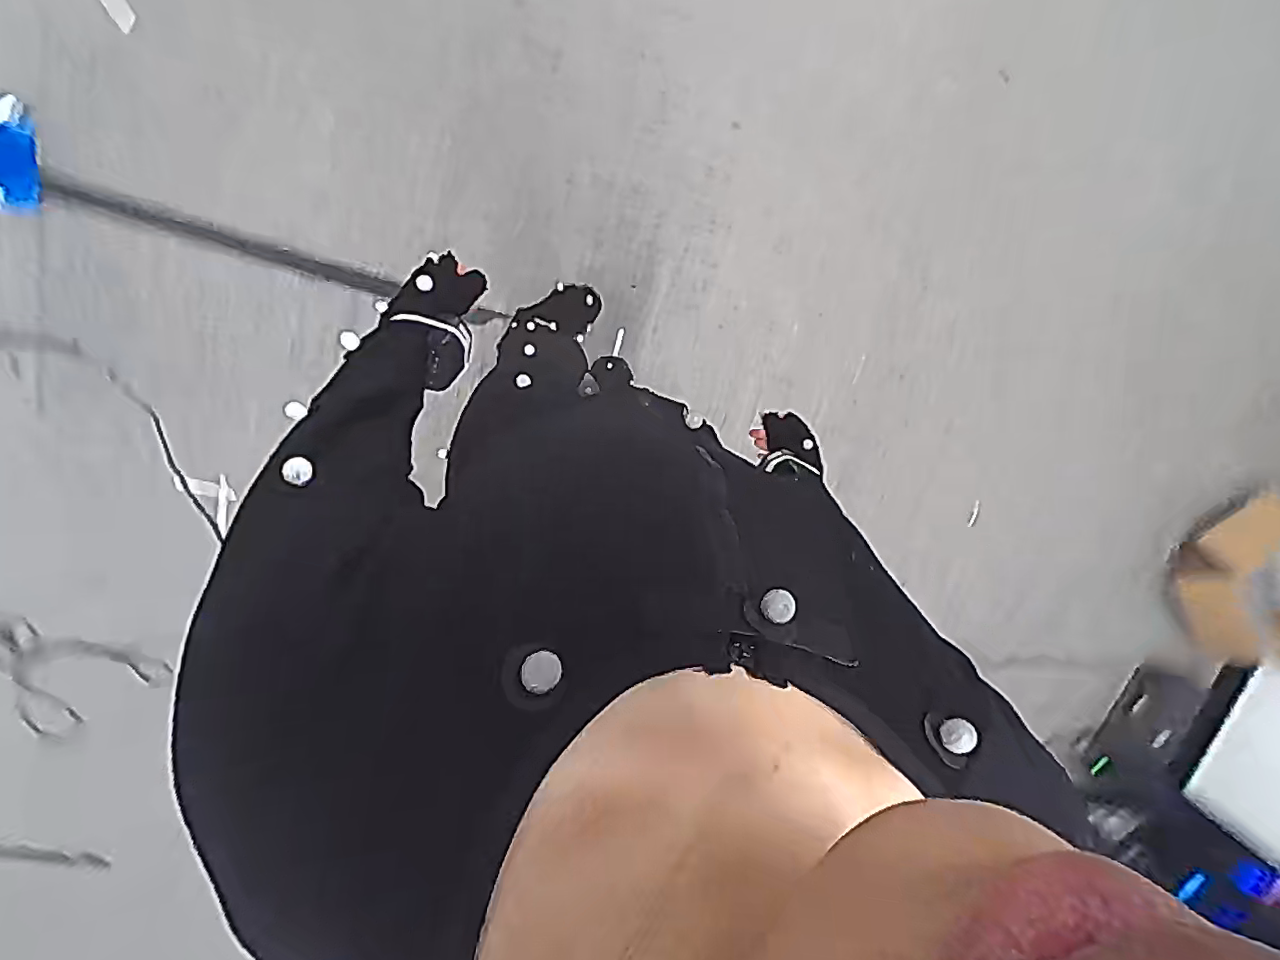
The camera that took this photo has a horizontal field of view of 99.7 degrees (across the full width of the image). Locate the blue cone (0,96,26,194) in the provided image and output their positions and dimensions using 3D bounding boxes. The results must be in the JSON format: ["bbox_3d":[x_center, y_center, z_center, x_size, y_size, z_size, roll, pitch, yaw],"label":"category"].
[{"bbox_3d":[-1.332,-0.651,0.939,0.193,0.380,0.192,11,103,-12],"label":"blue cone"}]
